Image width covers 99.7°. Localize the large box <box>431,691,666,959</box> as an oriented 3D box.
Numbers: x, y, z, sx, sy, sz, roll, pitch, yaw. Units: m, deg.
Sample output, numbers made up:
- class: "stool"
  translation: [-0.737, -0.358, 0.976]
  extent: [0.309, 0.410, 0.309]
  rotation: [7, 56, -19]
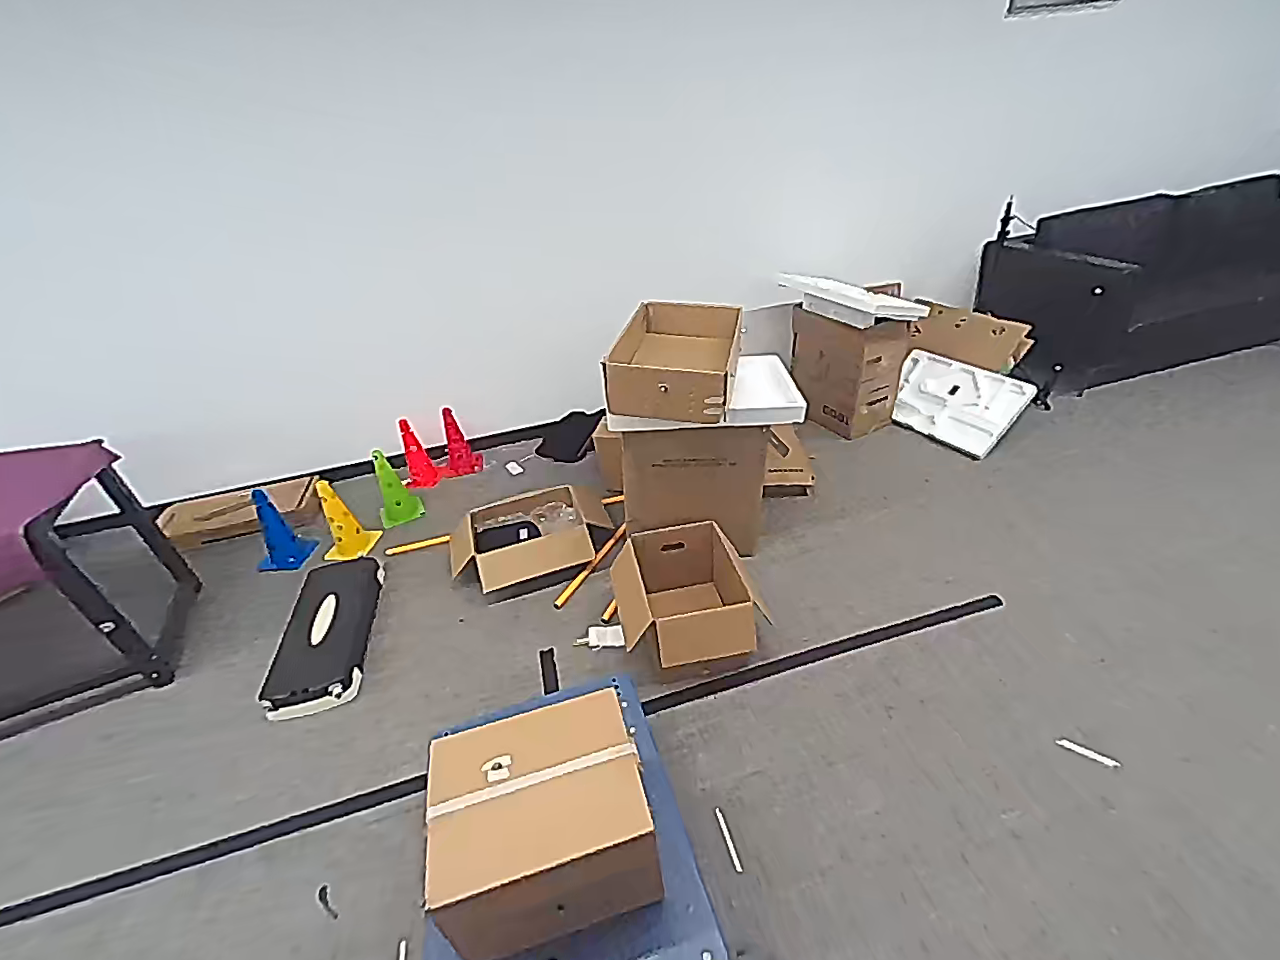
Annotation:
- class: "large box"
  translation: [-0.189, 0.723, 1.146]
  extent: [0.408, 0.320, 0.320]
  rotation: [-14, 34, -10]
